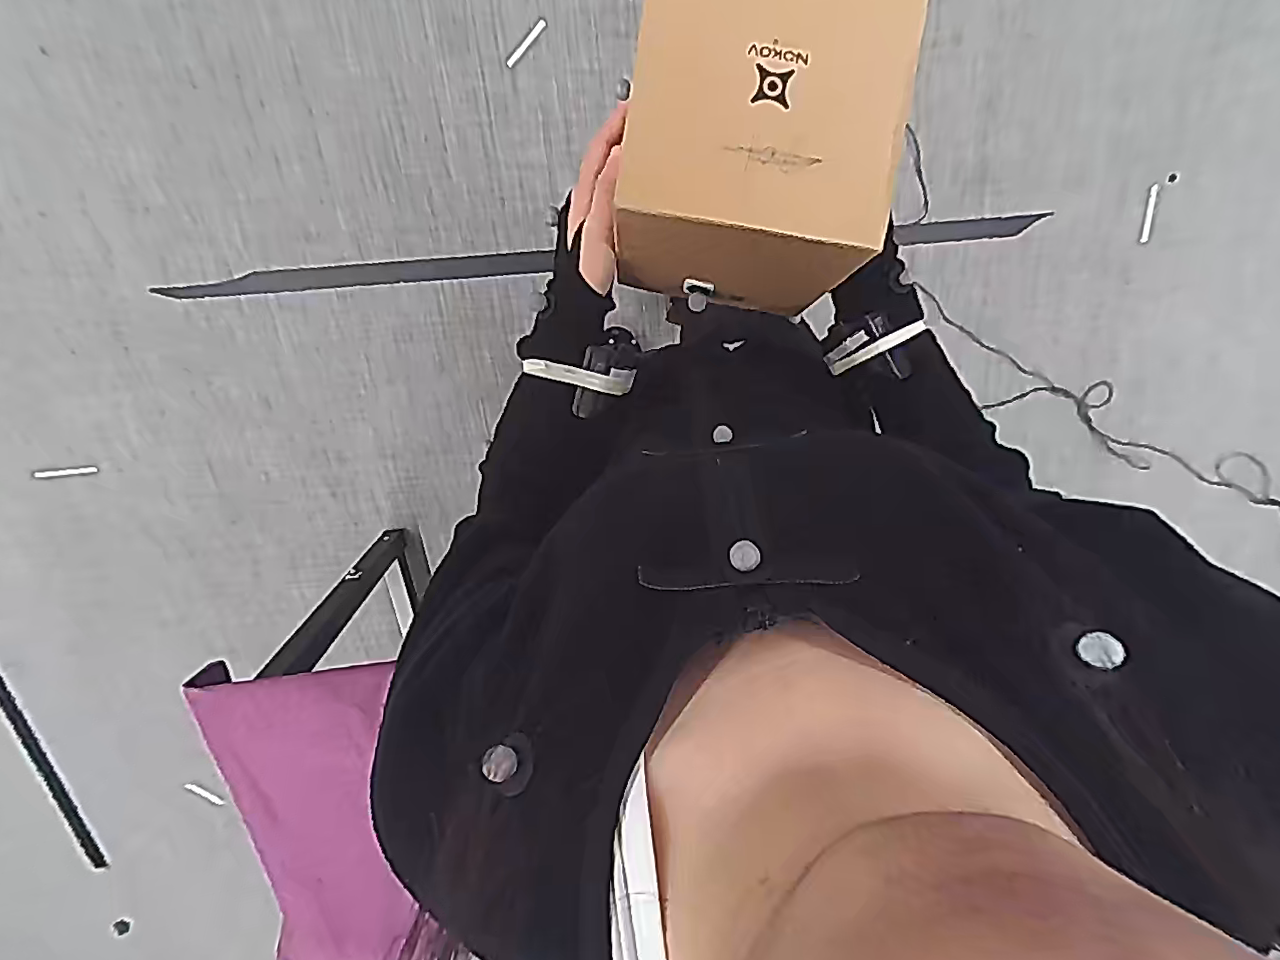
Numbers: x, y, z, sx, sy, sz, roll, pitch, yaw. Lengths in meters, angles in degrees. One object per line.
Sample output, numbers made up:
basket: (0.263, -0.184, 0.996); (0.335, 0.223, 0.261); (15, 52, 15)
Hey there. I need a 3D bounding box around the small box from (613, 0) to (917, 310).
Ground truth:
small box: (0.074, -0.245, 0.402); (0.168, 0.176, 0.179); (8, 94, -1)
